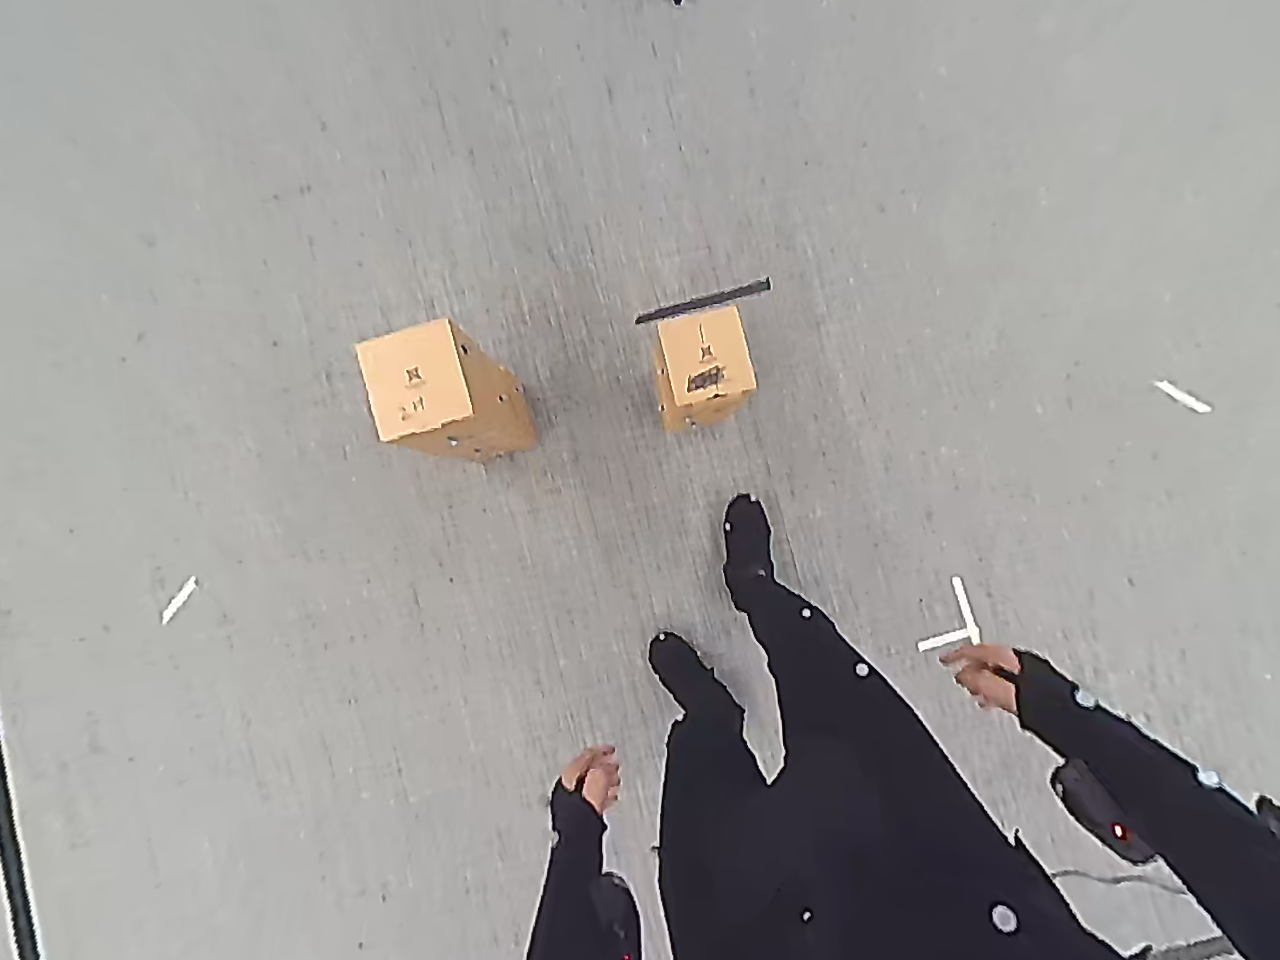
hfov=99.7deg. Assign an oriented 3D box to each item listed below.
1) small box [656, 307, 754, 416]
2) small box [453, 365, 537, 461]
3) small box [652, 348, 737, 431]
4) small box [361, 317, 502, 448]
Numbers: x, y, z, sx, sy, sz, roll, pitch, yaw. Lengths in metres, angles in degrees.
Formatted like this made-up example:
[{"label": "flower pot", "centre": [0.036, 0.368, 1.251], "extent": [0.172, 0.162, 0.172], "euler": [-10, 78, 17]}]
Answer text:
[{"label": "small box", "centre": [0.131, -0.242, 1.155], "extent": [0.168, 0.176, 0.179], "euler": [-13, 86, -1]}, {"label": "small box", "centre": [-0.363, -0.155, 1.318], "extent": [0.168, 0.176, 0.179], "euler": [-16, 86, 0]}, {"label": "small box", "centre": [0.126, -0.229, 1.318], "extent": [0.168, 0.176, 0.179], "euler": [-12, 87, -1]}, {"label": "small box", "centre": [-0.371, -0.170, 0.990], "extent": [0.168, 0.176, 0.179], "euler": [-16, 87, 1]}]
